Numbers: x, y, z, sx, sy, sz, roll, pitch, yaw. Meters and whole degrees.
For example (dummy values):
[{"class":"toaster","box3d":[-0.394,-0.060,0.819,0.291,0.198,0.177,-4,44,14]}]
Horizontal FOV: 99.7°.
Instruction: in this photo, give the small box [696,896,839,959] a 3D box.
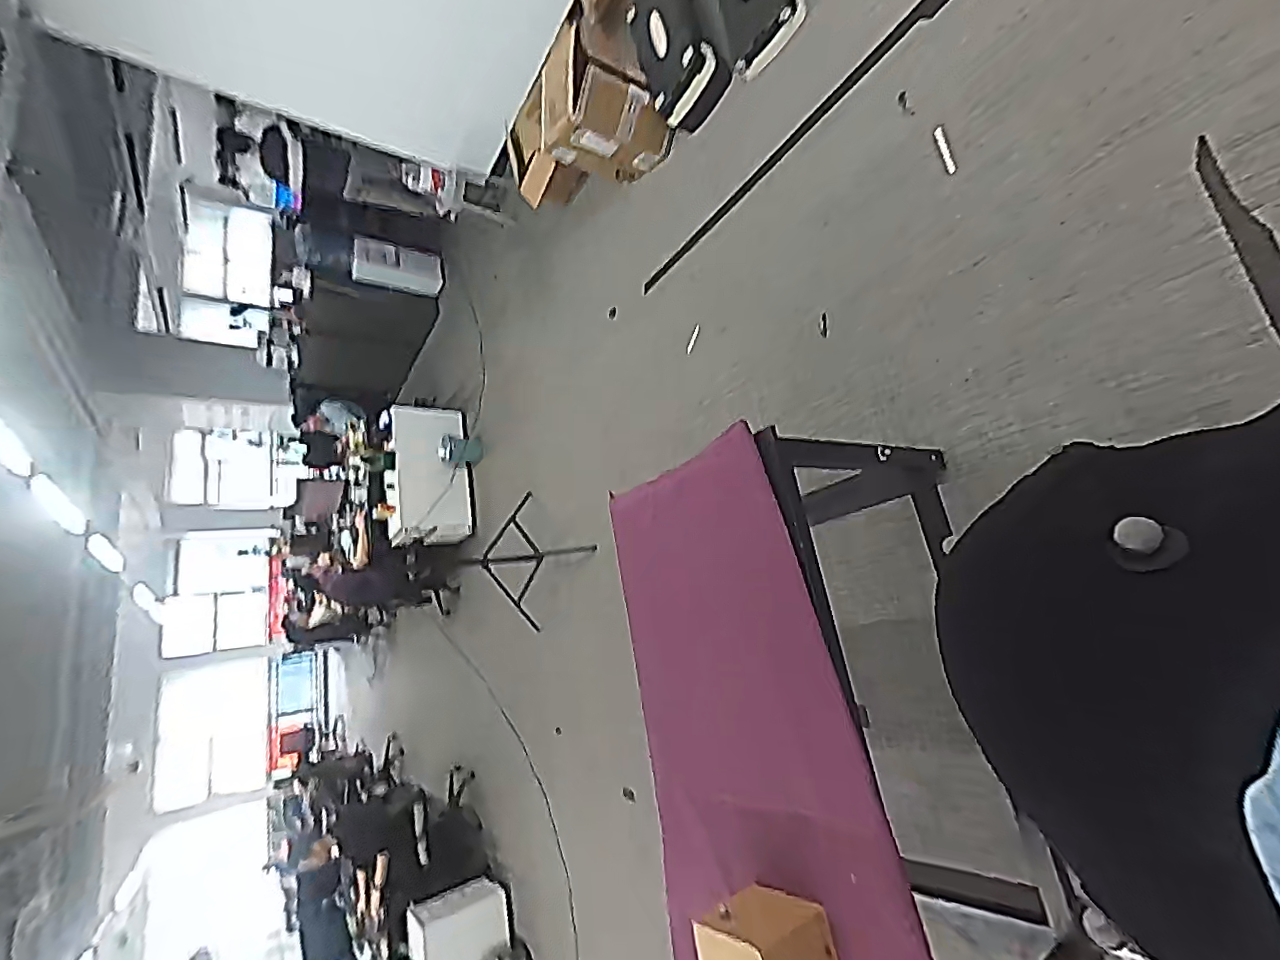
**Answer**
[{"class":"small box","box3d":[0.226,0.850,0.923,0.179,0.176,0.168,-32,62,49]}]
